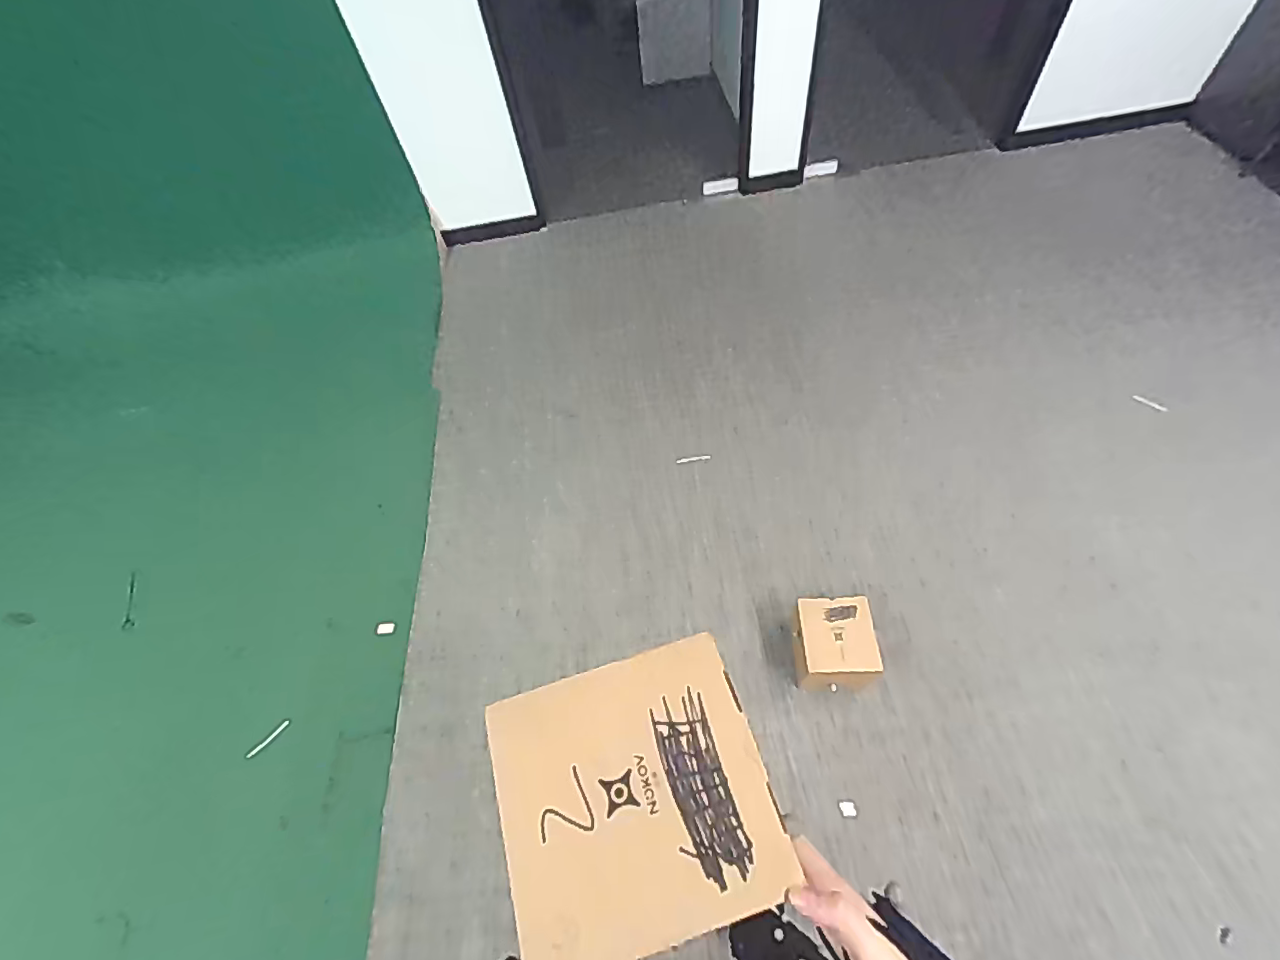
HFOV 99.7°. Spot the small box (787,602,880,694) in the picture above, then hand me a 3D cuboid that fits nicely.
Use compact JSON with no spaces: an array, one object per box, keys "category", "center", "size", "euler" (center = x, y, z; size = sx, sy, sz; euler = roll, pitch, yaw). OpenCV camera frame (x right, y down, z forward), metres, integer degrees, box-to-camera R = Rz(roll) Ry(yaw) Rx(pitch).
[{"category":"small box","center":[0.456,0.407,1.304],"size":[0.168,0.176,0.179],"euler":[-3,58,5]}]
